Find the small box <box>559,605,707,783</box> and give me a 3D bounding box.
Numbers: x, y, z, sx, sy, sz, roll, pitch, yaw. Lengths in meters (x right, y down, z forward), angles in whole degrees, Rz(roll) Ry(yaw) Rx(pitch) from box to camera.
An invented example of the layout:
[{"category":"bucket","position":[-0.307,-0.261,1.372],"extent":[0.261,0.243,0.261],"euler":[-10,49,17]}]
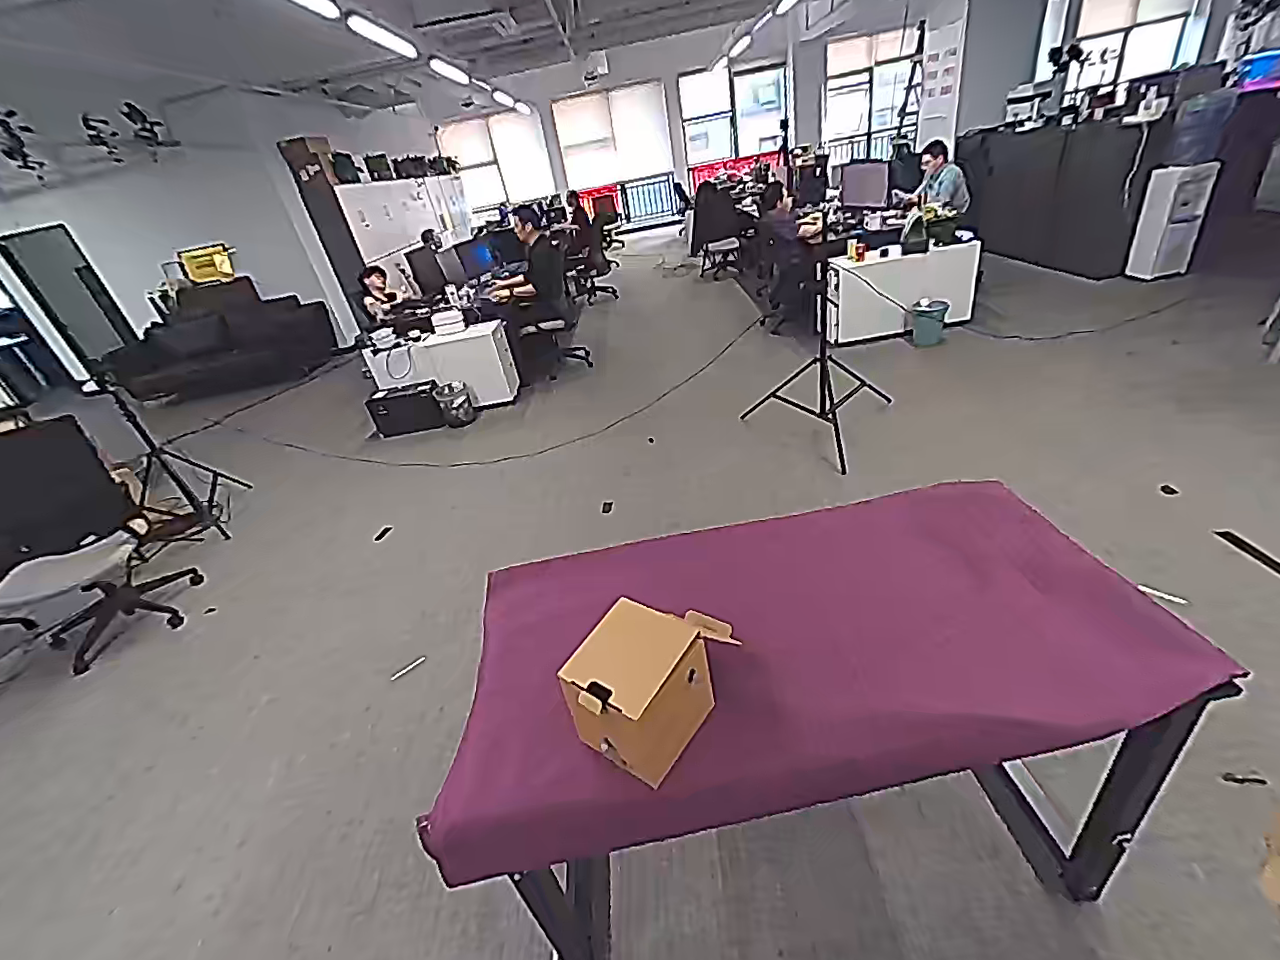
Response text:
[{"category":"small box","position":[-0.002,0.346,0.891],"extent":[0.168,0.176,0.179],"euler":[13,38,37]}]
